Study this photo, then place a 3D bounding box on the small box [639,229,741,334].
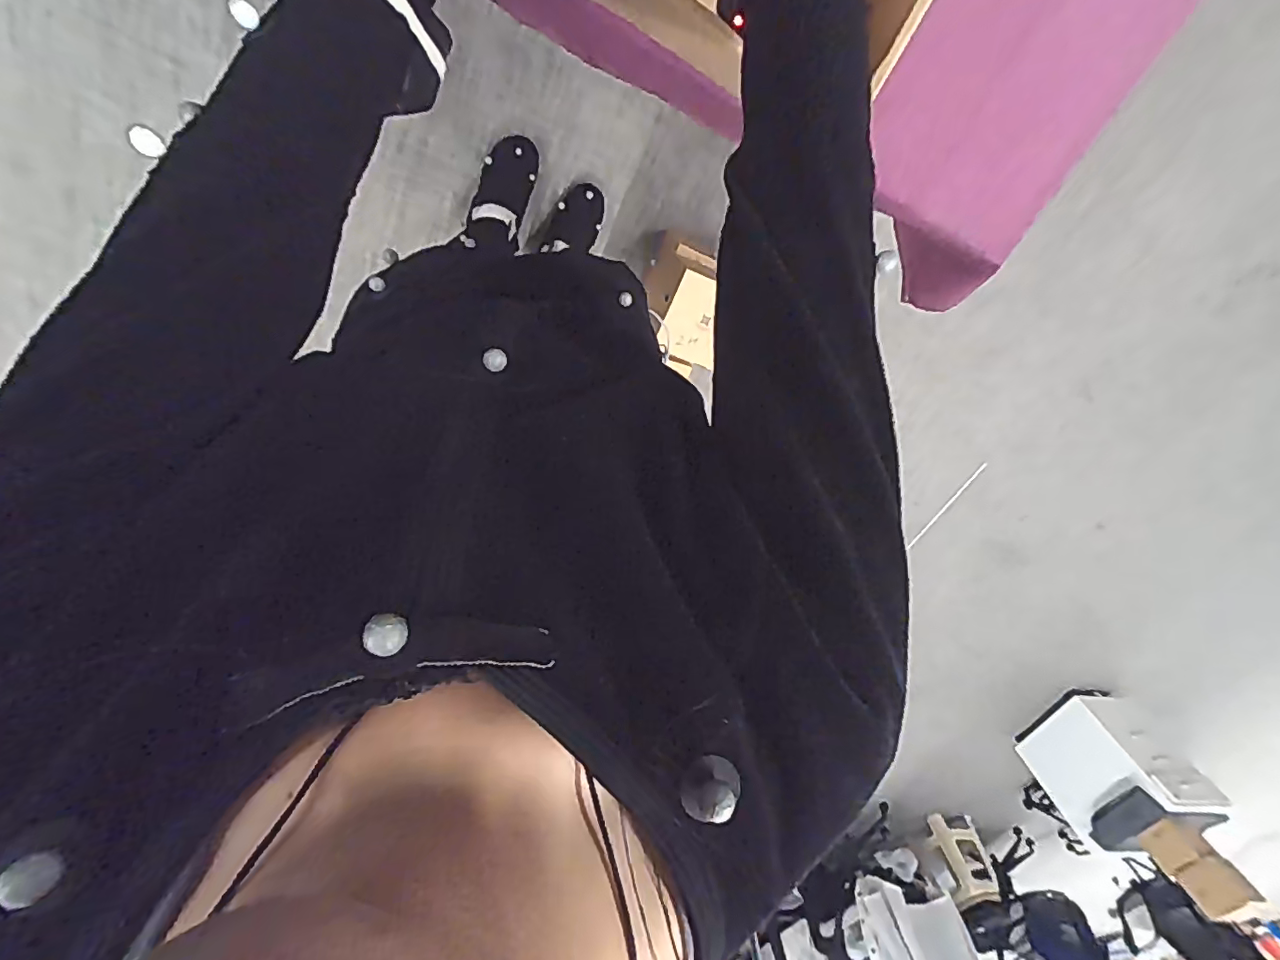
[{"bbox_3d":[0.113,-0.488,1.316,0.179,0.176,0.168,18,120,-19],"label":"small box"}]
